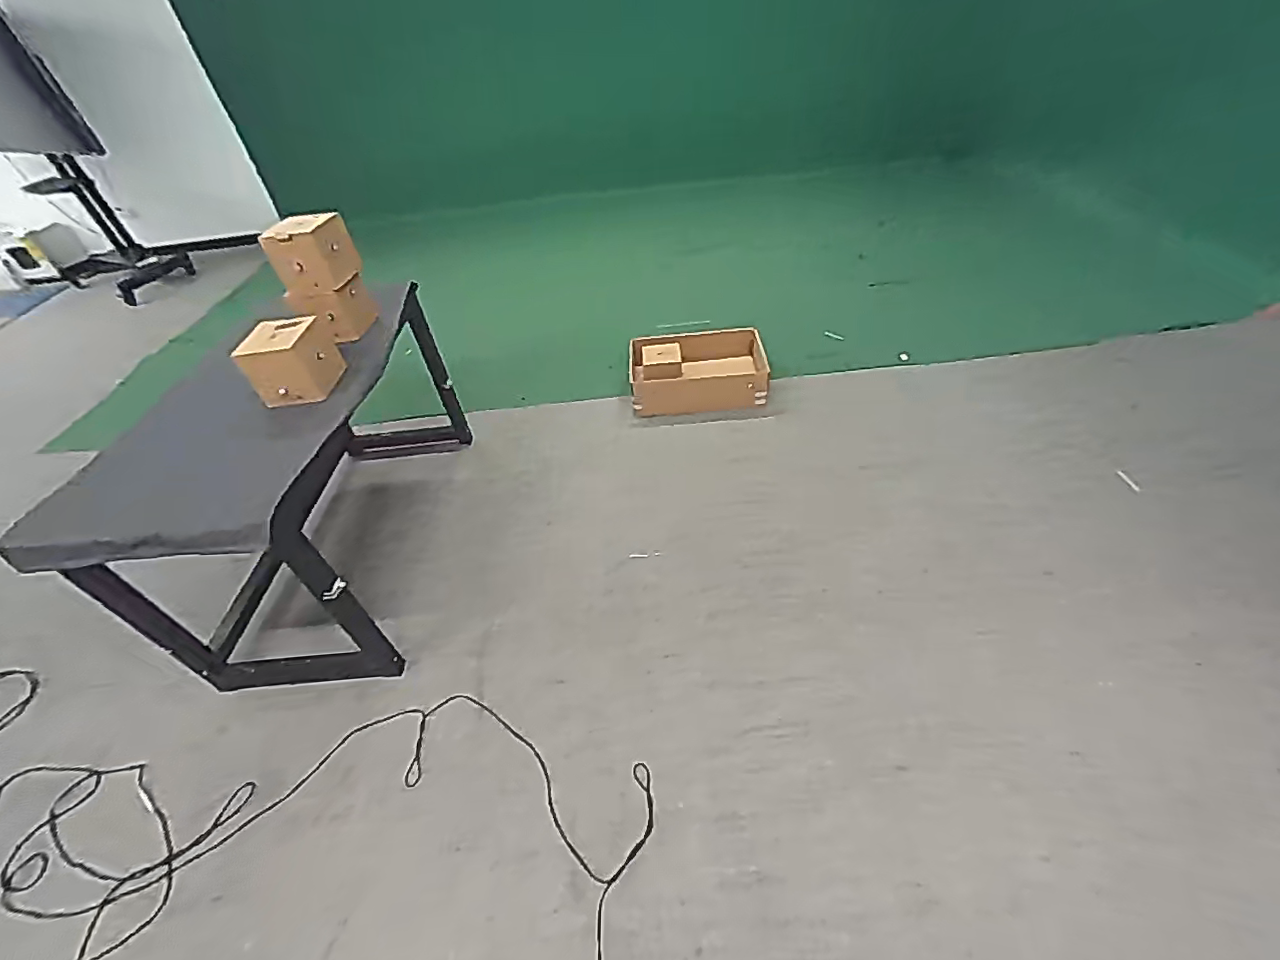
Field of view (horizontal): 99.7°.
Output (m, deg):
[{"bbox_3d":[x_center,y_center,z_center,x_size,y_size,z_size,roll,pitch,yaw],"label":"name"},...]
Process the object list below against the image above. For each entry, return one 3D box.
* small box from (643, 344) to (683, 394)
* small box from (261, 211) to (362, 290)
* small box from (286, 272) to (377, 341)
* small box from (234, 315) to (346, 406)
[{"bbox_3d":[0.107,-0.517,2.526,0.179,0.176,0.168,-4,44,2],"label":"small box"},{"bbox_3d":[-0.972,-0.682,1.620,0.168,0.176,0.179,-1,44,7],"label":"small box"},{"bbox_3d":[-0.972,-0.554,1.724,0.168,0.176,0.179,-3,42,5],"label":"small box"},{"bbox_3d":[-0.940,-0.325,1.475,0.168,0.176,0.179,-6,45,4],"label":"small box"}]
